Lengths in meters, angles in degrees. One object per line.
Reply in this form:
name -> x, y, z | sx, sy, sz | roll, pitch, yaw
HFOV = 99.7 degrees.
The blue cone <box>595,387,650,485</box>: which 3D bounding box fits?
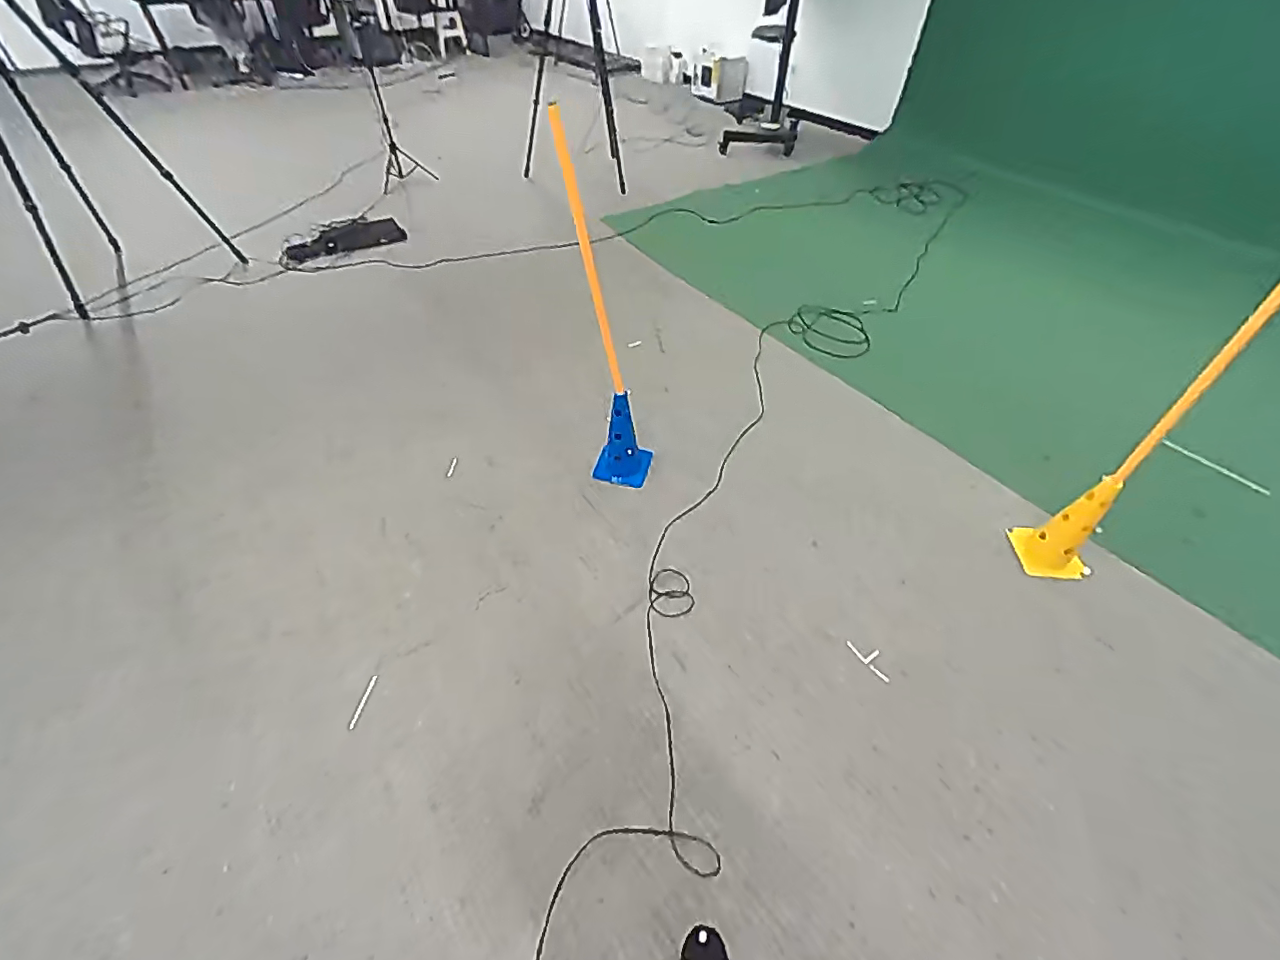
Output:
blue cone -> -0.068, -0.167, 1.938 | 0.193, 0.380, 0.192 | 9, 48, 9
